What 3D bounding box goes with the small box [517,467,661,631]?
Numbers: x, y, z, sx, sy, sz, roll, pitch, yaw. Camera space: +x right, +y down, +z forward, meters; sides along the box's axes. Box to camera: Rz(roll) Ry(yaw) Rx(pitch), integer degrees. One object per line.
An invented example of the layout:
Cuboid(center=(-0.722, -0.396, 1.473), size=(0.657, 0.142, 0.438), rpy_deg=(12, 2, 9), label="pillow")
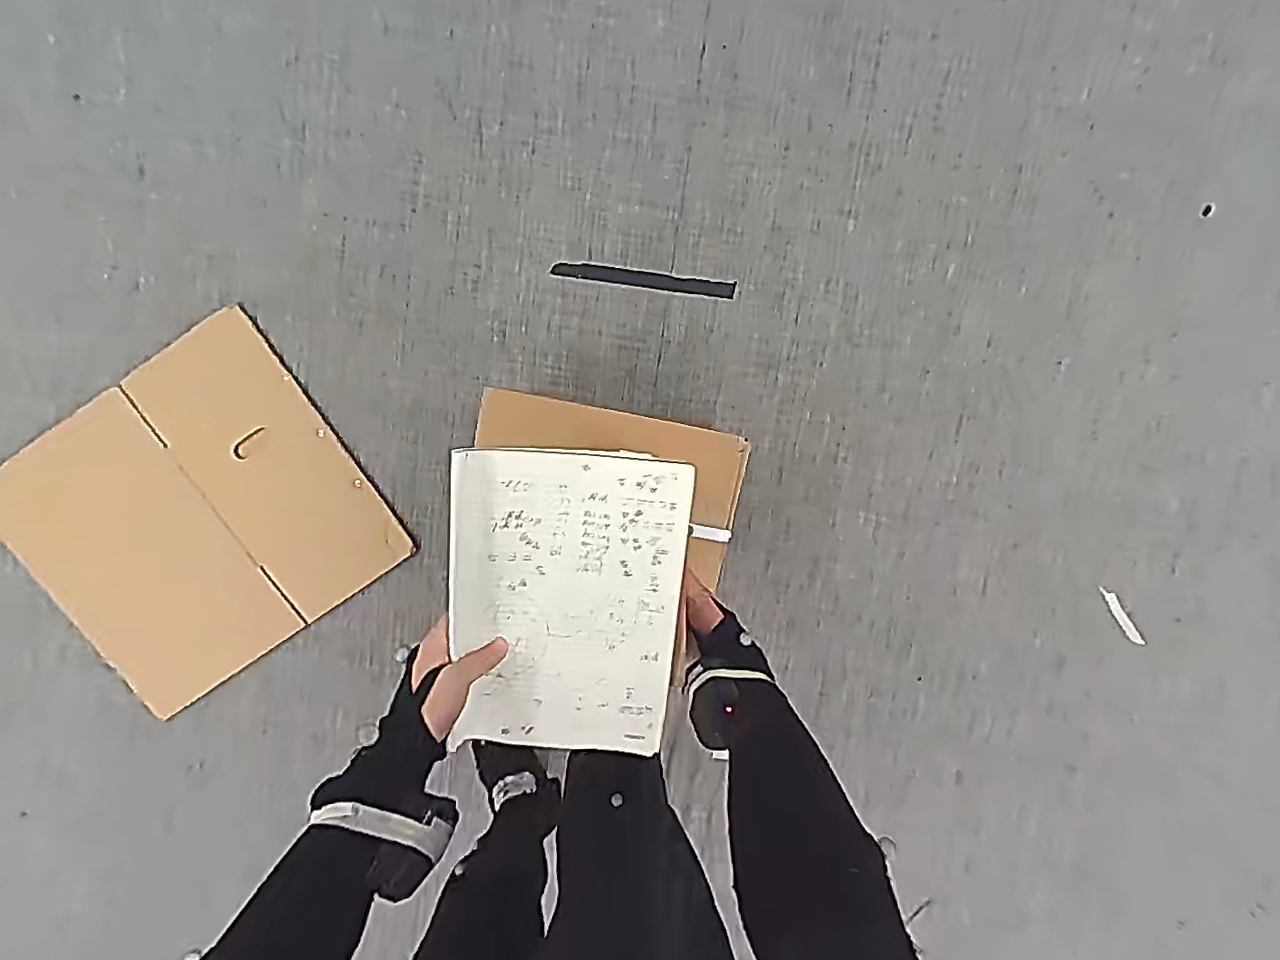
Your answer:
Cuboid(center=(-0.064, 0.084, 0.736), size=(0.168, 0.176, 0.179), rpy_deg=(5, 98, -2), label="small box")
